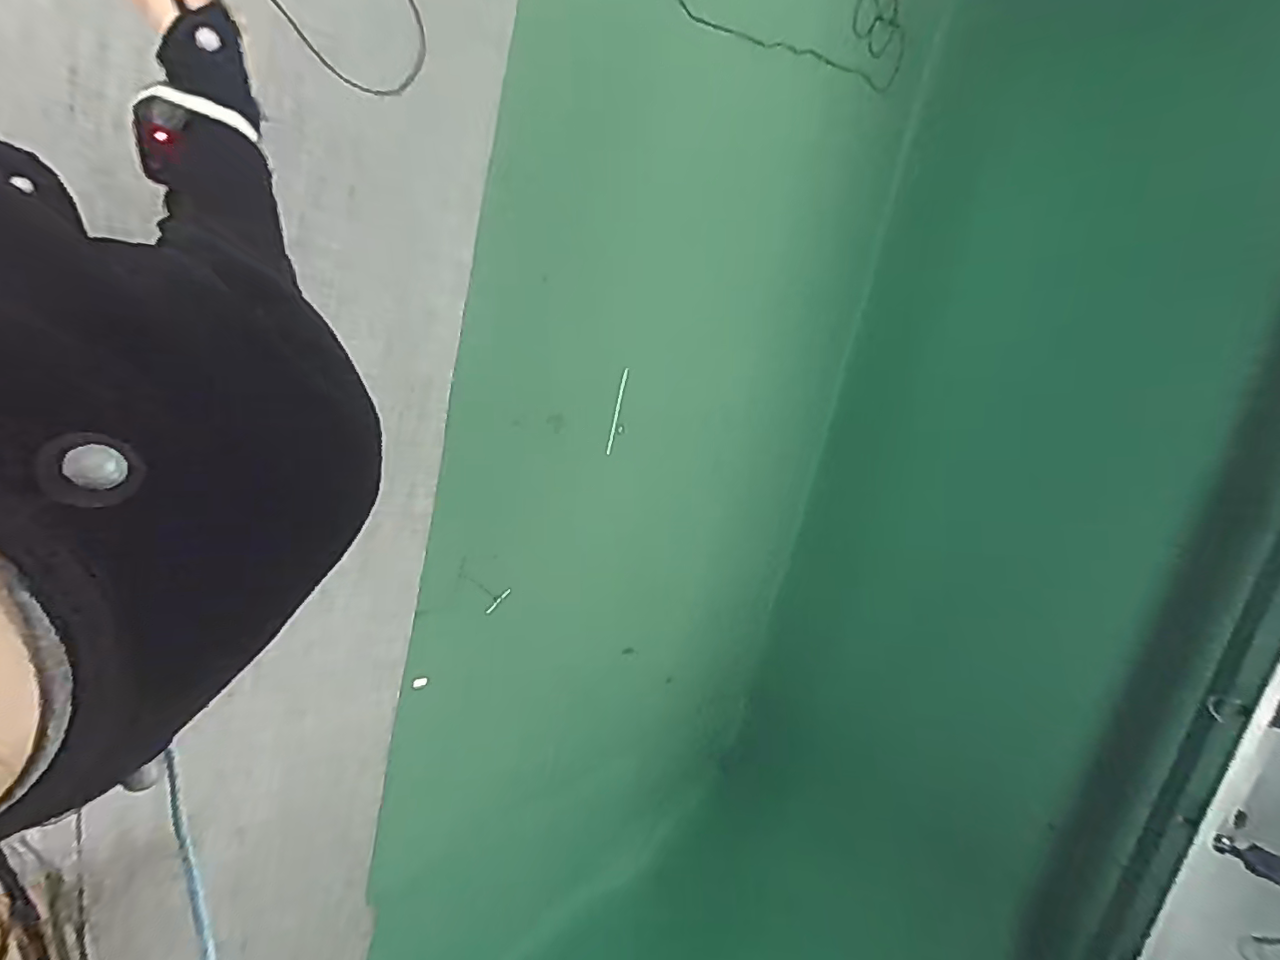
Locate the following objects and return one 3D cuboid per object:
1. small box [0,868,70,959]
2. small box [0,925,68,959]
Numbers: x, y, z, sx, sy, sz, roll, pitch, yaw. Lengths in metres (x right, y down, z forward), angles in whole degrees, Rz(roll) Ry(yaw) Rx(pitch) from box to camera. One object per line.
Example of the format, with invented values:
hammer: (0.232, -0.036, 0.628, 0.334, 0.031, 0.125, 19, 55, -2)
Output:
small box: (-1.358, 0.996, 1.154, 0.179, 0.176, 0.168, -8, 113, -51)
small box: (-1.235, 1.036, 1.051, 0.179, 0.176, 0.168, -9, 112, -51)
